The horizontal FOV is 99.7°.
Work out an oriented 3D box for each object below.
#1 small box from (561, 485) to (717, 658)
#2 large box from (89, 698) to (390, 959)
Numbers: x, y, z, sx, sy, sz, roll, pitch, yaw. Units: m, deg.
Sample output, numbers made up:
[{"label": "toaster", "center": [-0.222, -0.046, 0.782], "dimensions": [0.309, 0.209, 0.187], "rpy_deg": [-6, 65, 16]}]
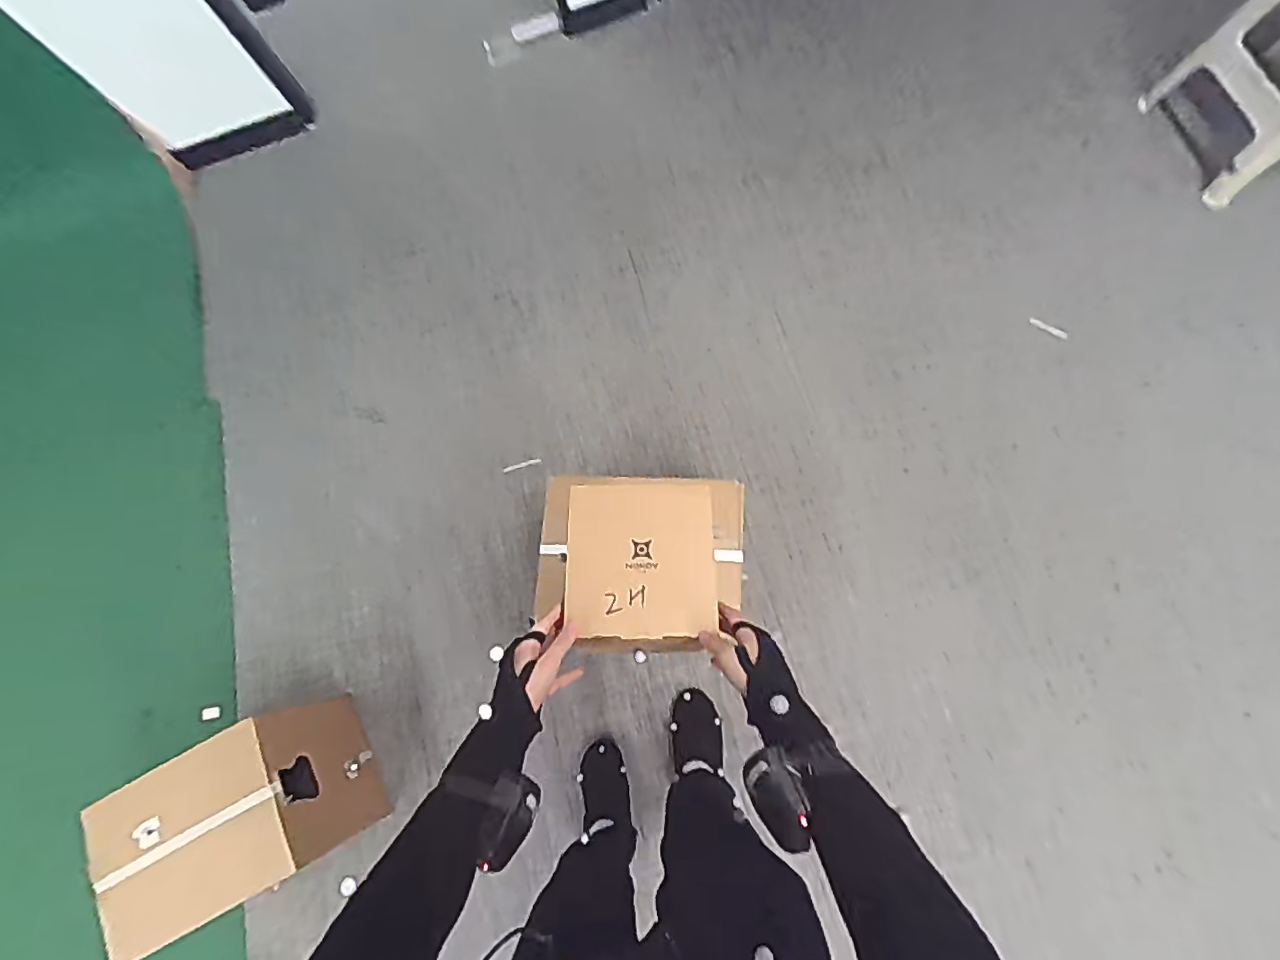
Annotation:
[{"label": "small box", "center": [-0.002, 0.118, 0.664], "dimensions": [0.168, 0.176, 0.179], "rpy_deg": [0, 67, -1]}, {"label": "large box", "center": [-0.856, 0.741, 1.197], "dimensions": [0.408, 0.320, 0.320], "rpy_deg": [-29, 73, 1]}]
